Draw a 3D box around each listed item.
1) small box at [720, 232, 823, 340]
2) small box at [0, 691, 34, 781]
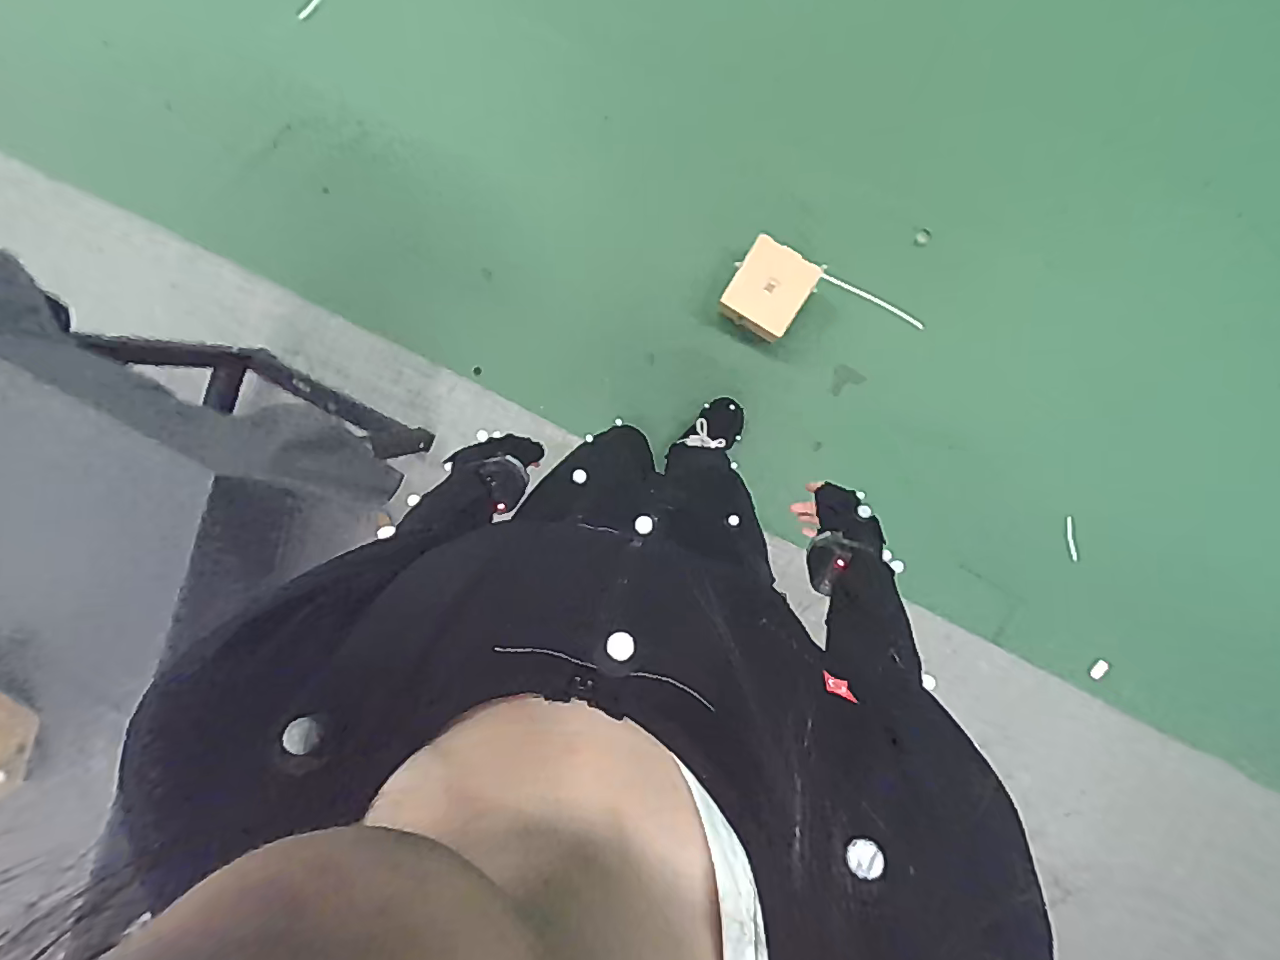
[{"bbox_3d":[0.308,-0.454,1.300,0.168,0.176,0.179,32,101,1],"label":"small box"},{"bbox_3d":[-1.166,0.438,0.873,0.179,0.176,0.168,28,102,1],"label":"small box"}]
